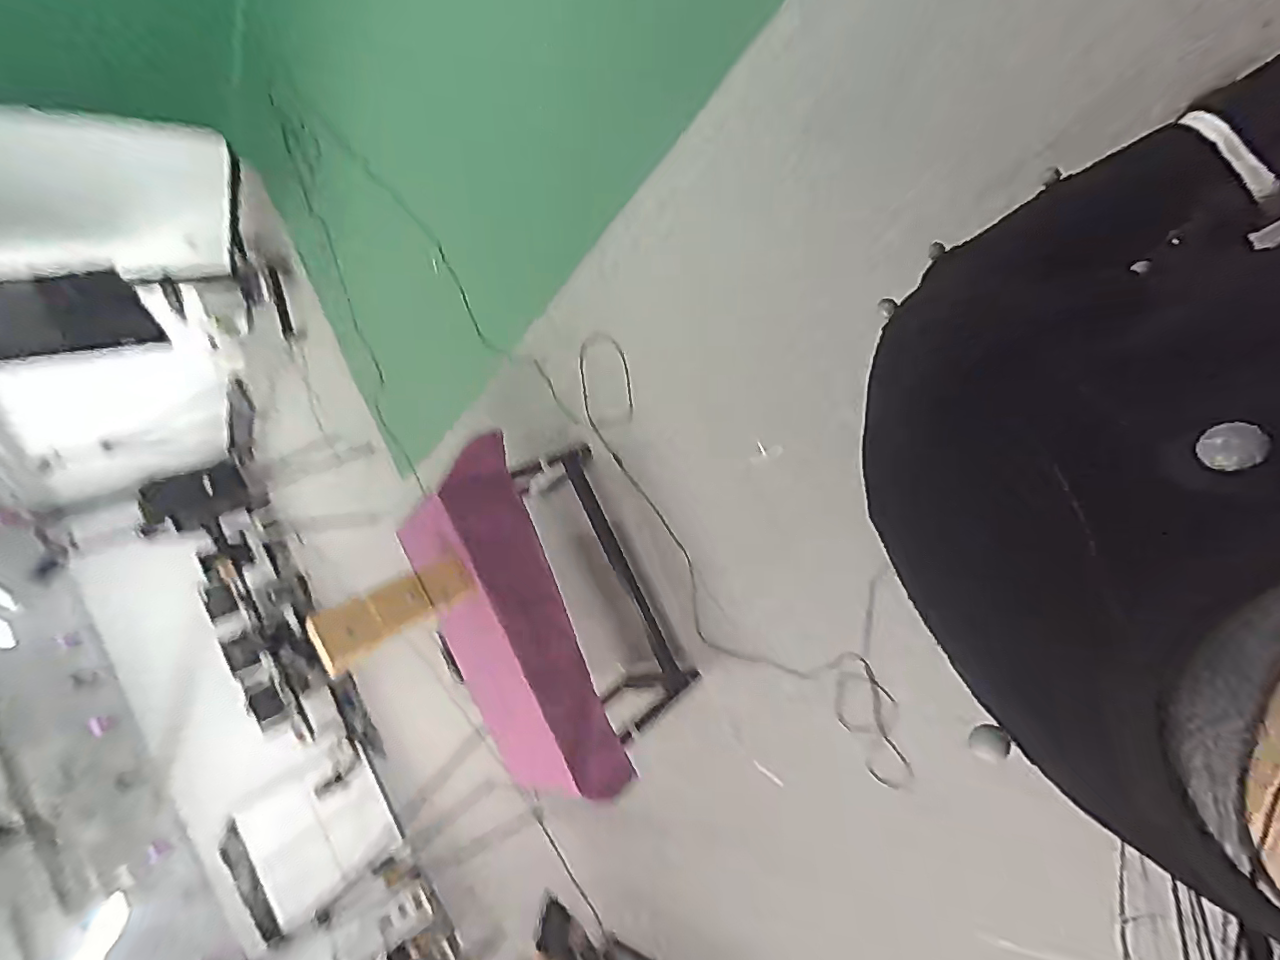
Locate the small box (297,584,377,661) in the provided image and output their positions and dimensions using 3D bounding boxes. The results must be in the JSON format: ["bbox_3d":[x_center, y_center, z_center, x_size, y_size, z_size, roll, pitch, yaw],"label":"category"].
[{"bbox_3d":[-0.993,0.460,1.770,0.179,0.176,0.168,58,139,8],"label":"small box"}]

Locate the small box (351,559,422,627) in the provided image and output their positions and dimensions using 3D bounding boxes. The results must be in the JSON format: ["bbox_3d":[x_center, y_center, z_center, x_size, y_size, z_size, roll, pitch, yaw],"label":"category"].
[{"bbox_3d":[-0.878,0.397,1.870,0.179,0.176,0.168,-37,81,48],"label":"small box"}]
